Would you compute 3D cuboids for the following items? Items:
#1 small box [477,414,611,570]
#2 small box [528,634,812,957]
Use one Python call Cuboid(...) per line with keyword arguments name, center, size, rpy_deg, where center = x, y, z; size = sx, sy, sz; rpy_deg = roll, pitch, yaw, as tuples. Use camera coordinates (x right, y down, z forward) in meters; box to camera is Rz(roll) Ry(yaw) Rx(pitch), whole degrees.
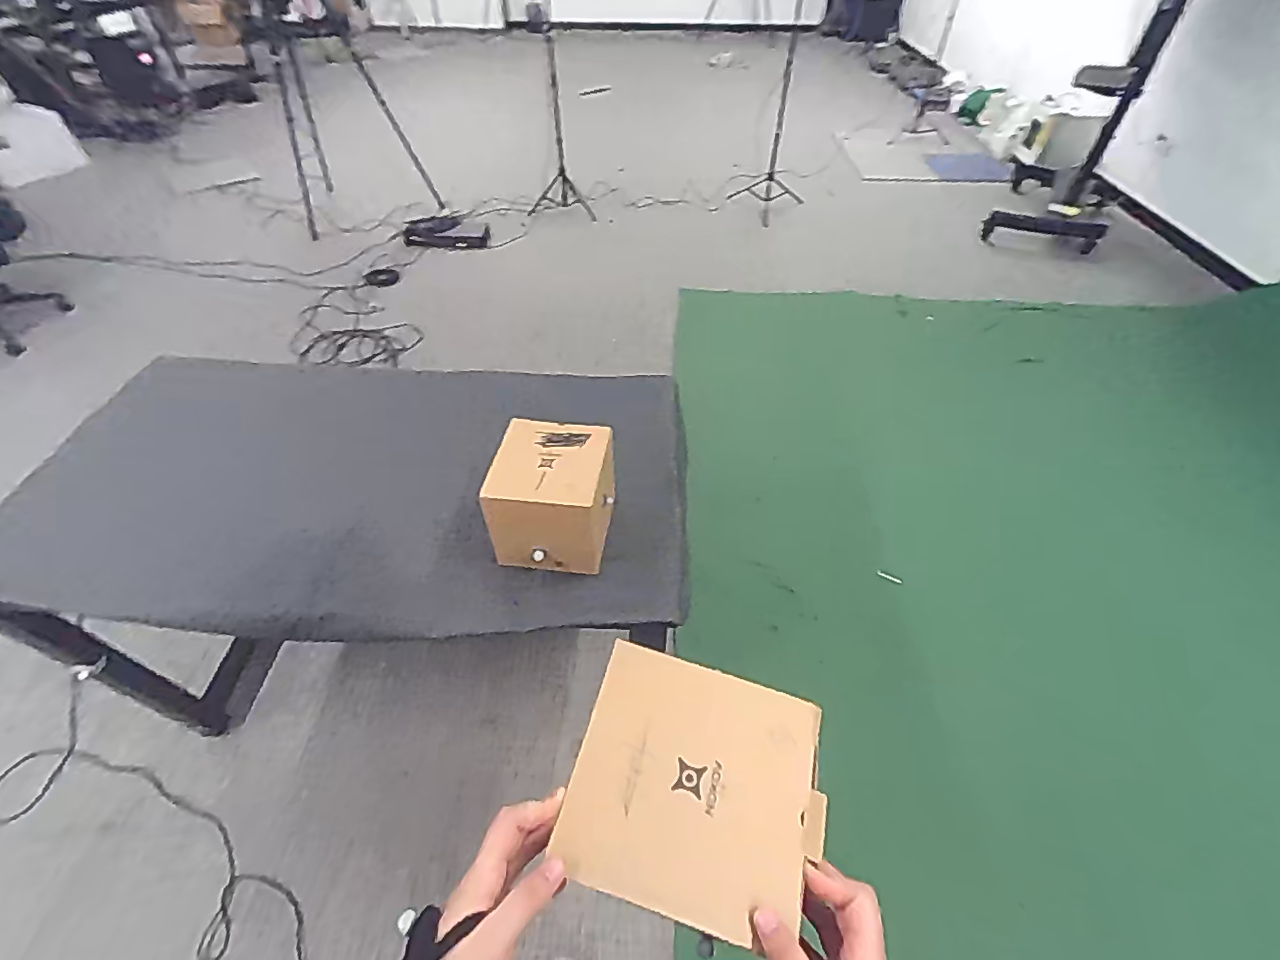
Cuboid(name="small box", center=(-0.140, 0.019, 0.869), size=(0.168, 0.176, 0.179), rpy_deg=(5, 46, 5))
Cuboid(name="small box", center=(0.026, 0.257, 0.454), size=(0.179, 0.176, 0.168), rpy_deg=(15, 53, 7))
